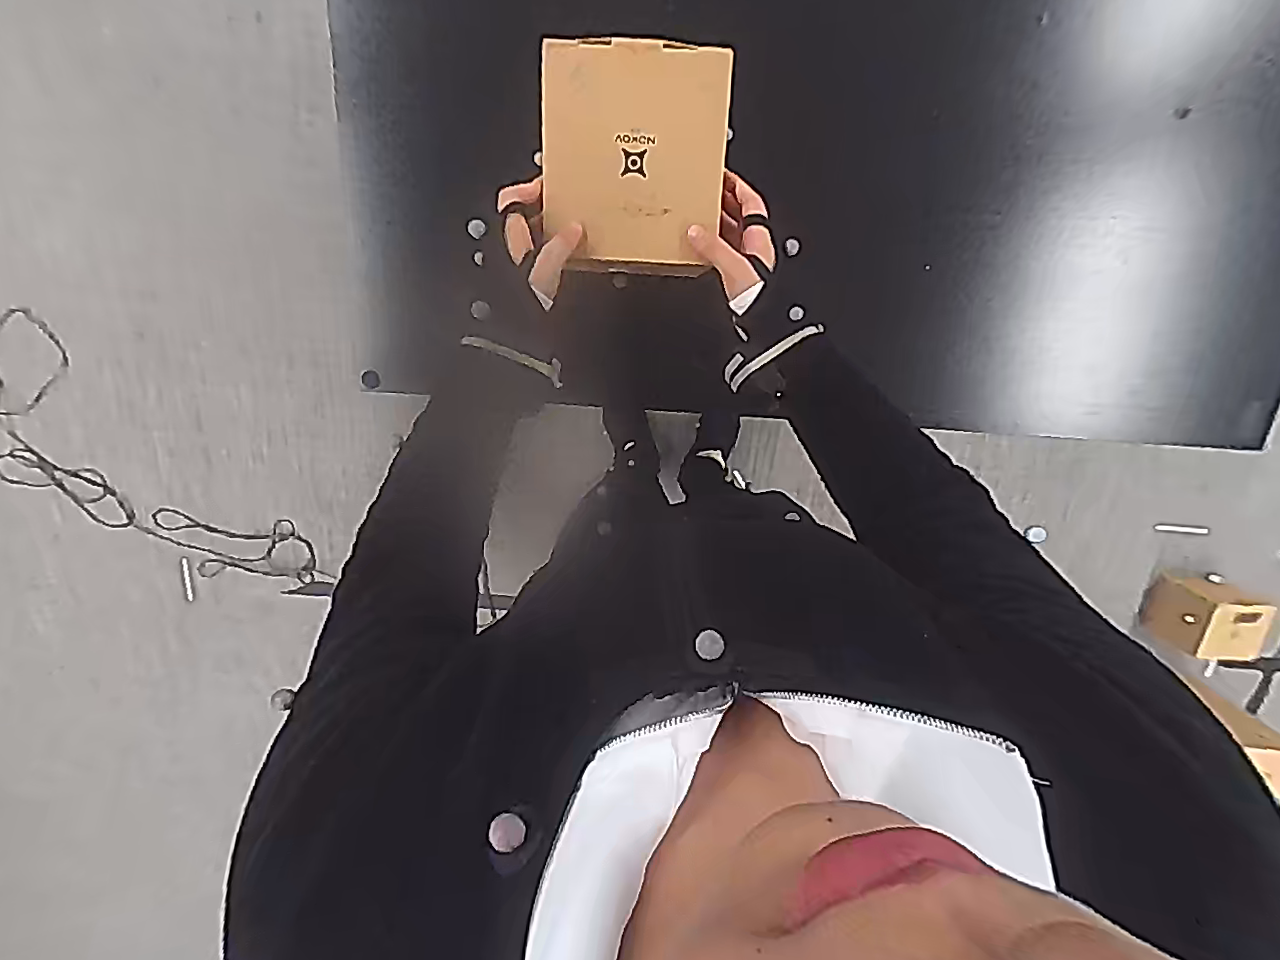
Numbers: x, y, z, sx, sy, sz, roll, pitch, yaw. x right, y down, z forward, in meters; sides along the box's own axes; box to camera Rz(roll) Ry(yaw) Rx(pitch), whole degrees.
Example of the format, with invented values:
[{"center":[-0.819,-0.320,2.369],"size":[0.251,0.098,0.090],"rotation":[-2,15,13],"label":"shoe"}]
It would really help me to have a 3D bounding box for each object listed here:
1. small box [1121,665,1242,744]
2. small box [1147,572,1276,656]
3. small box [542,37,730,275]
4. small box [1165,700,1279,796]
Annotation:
[{"center":[1.629,0.683,1.641],"size":[0.179,0.176,0.168],"rotation":[4,106,-1],"label":"small box"},{"center":[1.617,0.377,1.544],"size":[0.168,0.176,0.179],"rotation":[2,108,-1],"label":"small box"},{"center":[-0.007,-0.314,0.562],"size":[0.168,0.176,0.179],"rotation":[2,107,0],"label":"small box"},{"center":[1.623,0.728,1.481],"size":[0.179,0.176,0.168],"rotation":[6,107,-1],"label":"small box"}]
